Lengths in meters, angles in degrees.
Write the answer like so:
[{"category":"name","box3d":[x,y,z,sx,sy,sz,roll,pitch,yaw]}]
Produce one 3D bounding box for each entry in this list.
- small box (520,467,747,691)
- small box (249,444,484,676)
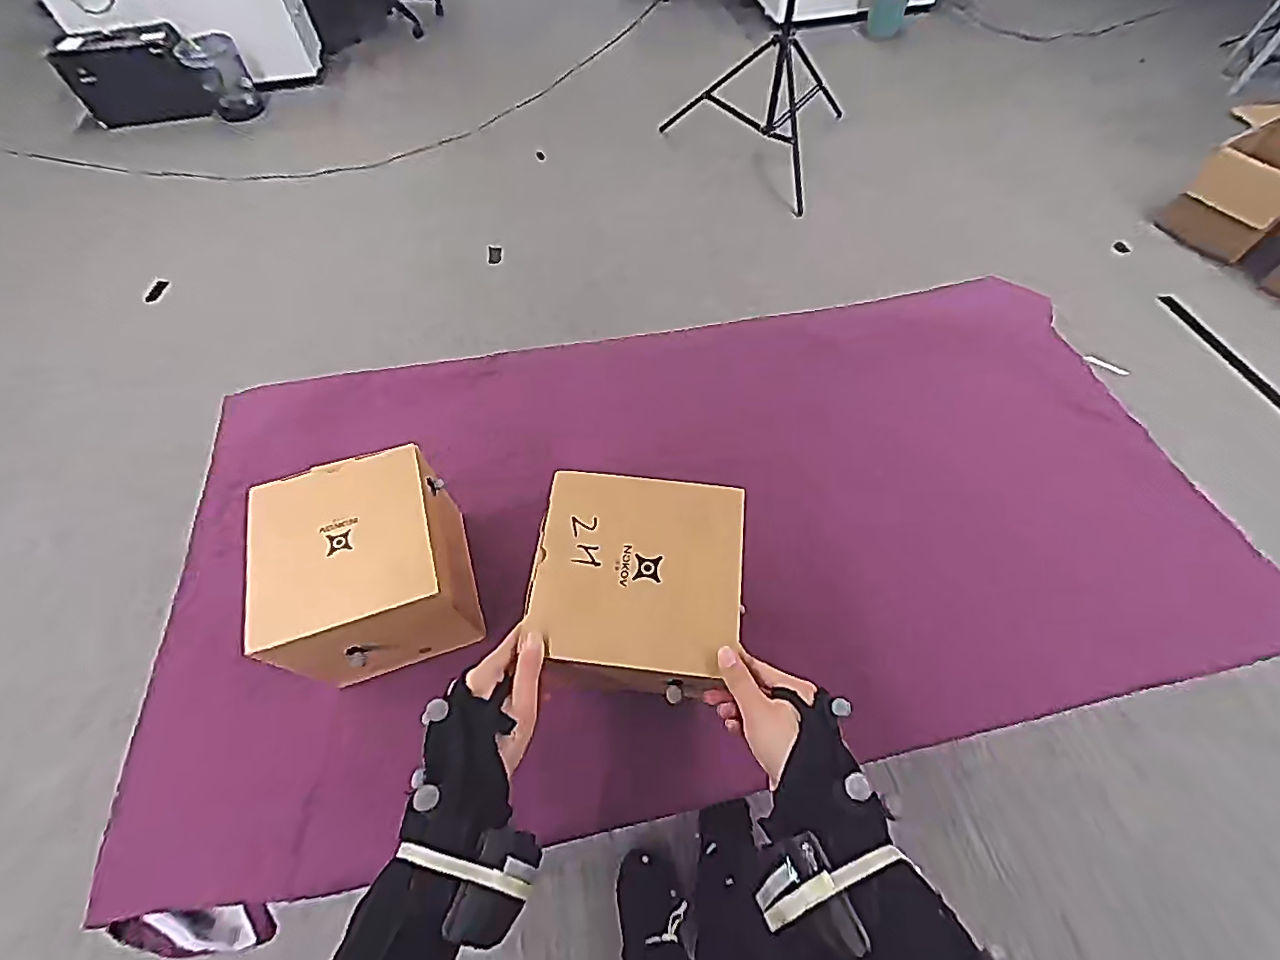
[{"category":"small box","box3d":[0.002,0.105,0.528,0.179,0.176,0.168,6,63,4]},{"category":"small box","box3d":[-0.281,0.095,0.581,0.168,0.176,0.179,-18,60,-10]}]
